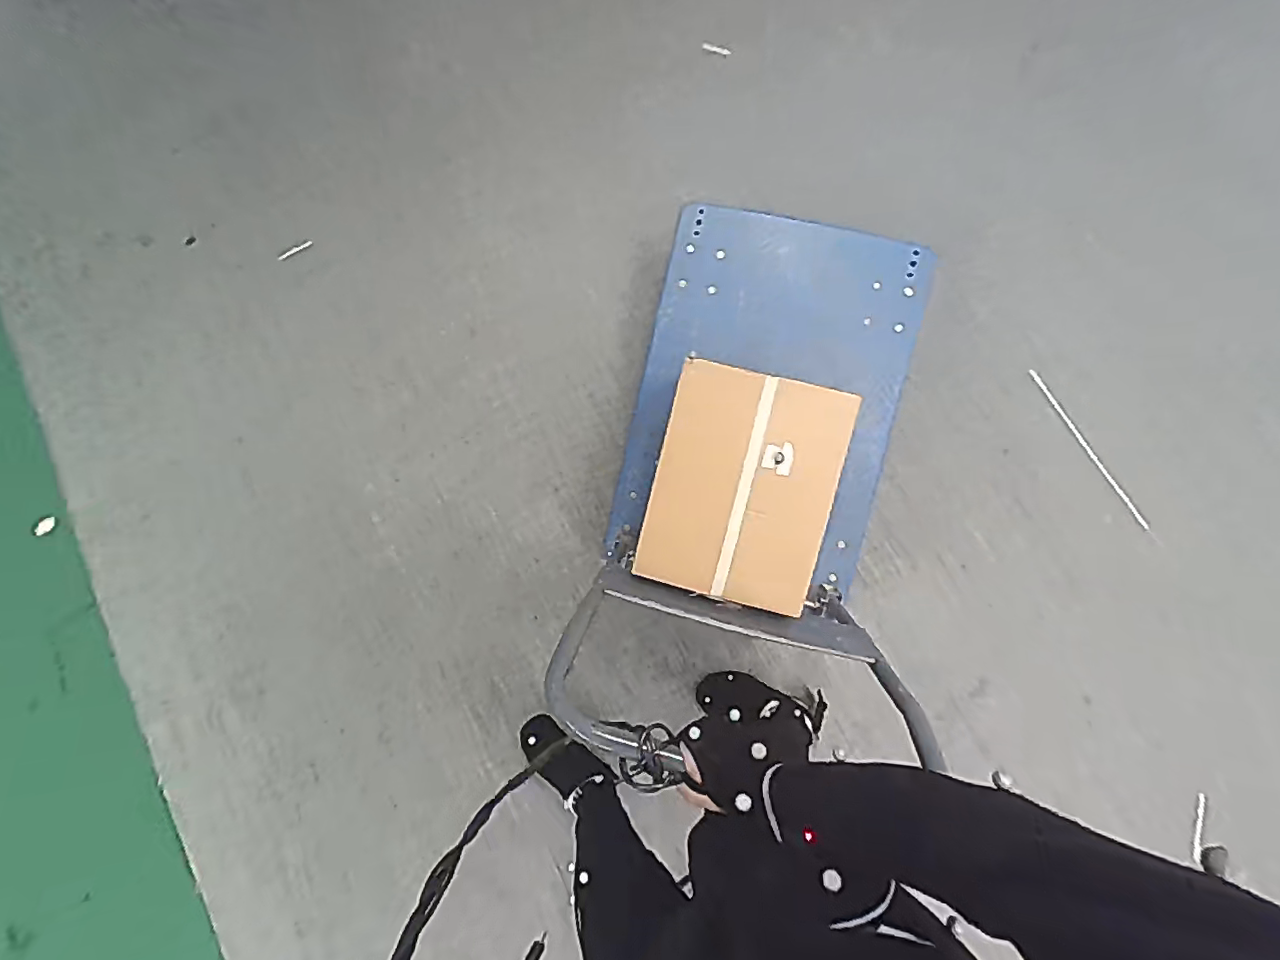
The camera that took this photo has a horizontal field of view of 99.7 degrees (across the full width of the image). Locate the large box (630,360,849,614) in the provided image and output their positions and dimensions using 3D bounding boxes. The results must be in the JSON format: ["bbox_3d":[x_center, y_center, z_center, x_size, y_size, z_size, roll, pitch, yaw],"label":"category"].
[{"bbox_3d":[0.187,0.008,1.108,0.320,0.320,0.408,15,94,4],"label":"large box"}]
